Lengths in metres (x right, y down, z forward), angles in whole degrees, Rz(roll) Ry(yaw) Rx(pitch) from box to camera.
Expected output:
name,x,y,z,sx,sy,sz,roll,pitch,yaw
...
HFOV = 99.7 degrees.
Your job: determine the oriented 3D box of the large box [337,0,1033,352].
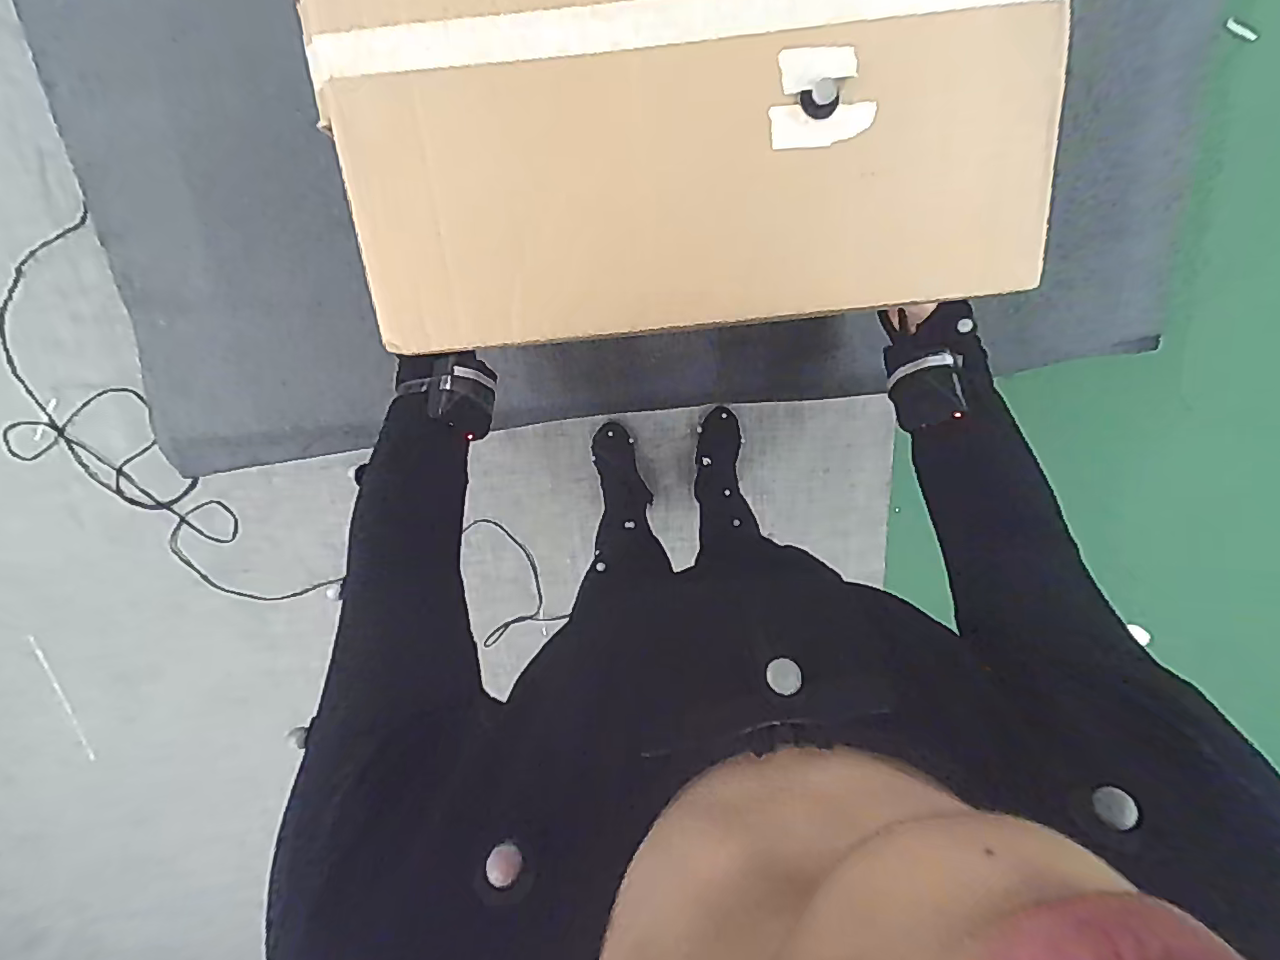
name,x,y,z,sx,sy,sz,roll,pitch,yaw
large box,0.025,-0.291,0.458,0.408,0.320,0.320,-6,105,0
